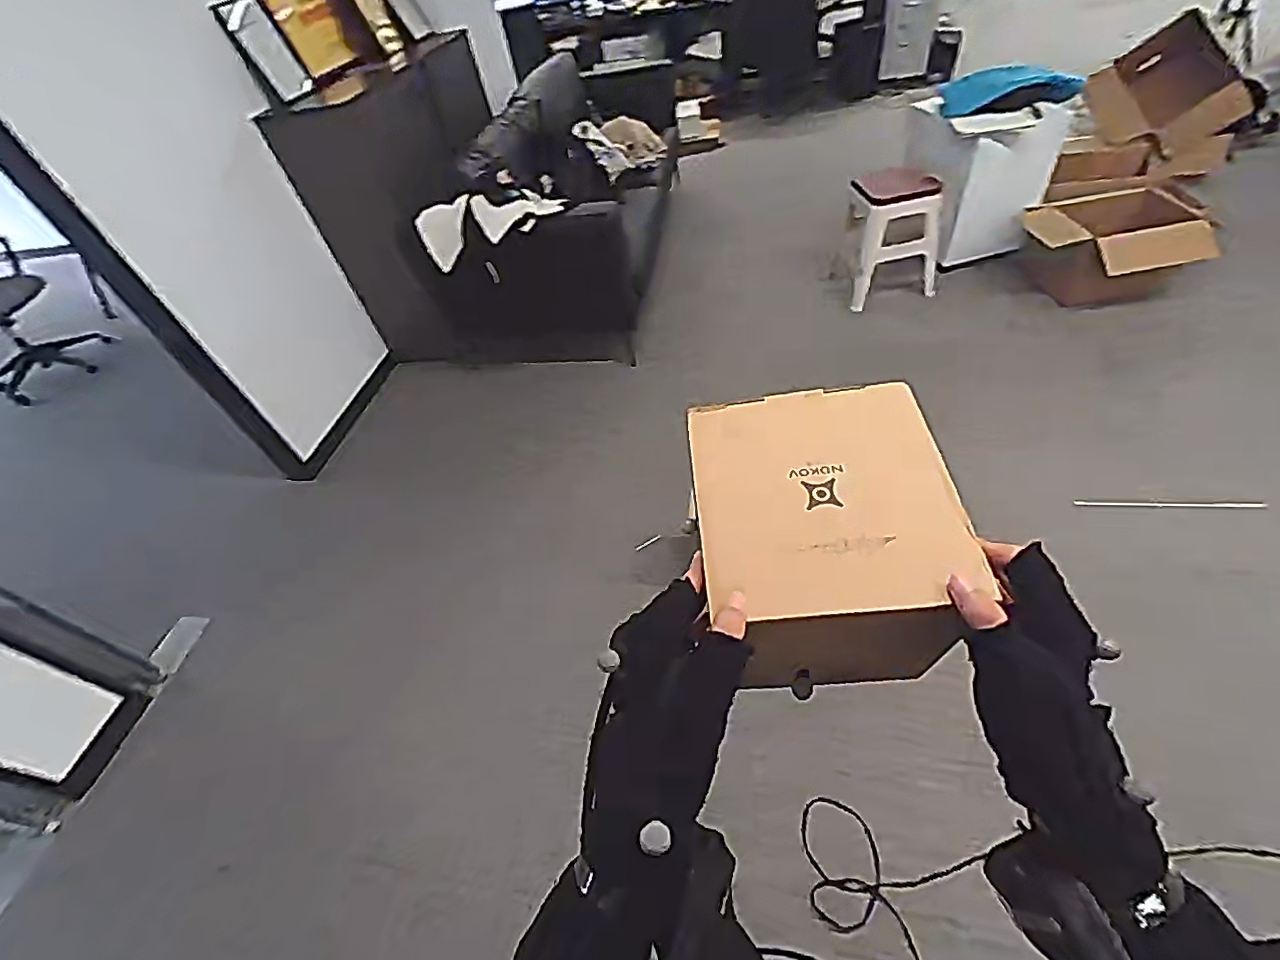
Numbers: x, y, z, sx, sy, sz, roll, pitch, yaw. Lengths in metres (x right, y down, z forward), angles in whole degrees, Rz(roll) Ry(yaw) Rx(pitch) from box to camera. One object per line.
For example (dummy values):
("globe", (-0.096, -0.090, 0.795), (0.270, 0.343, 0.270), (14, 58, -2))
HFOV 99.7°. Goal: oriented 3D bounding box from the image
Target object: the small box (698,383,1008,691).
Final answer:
("small box", (0.135, 0.052, 0.423), (0.168, 0.176, 0.179), (-6, 56, 6))
